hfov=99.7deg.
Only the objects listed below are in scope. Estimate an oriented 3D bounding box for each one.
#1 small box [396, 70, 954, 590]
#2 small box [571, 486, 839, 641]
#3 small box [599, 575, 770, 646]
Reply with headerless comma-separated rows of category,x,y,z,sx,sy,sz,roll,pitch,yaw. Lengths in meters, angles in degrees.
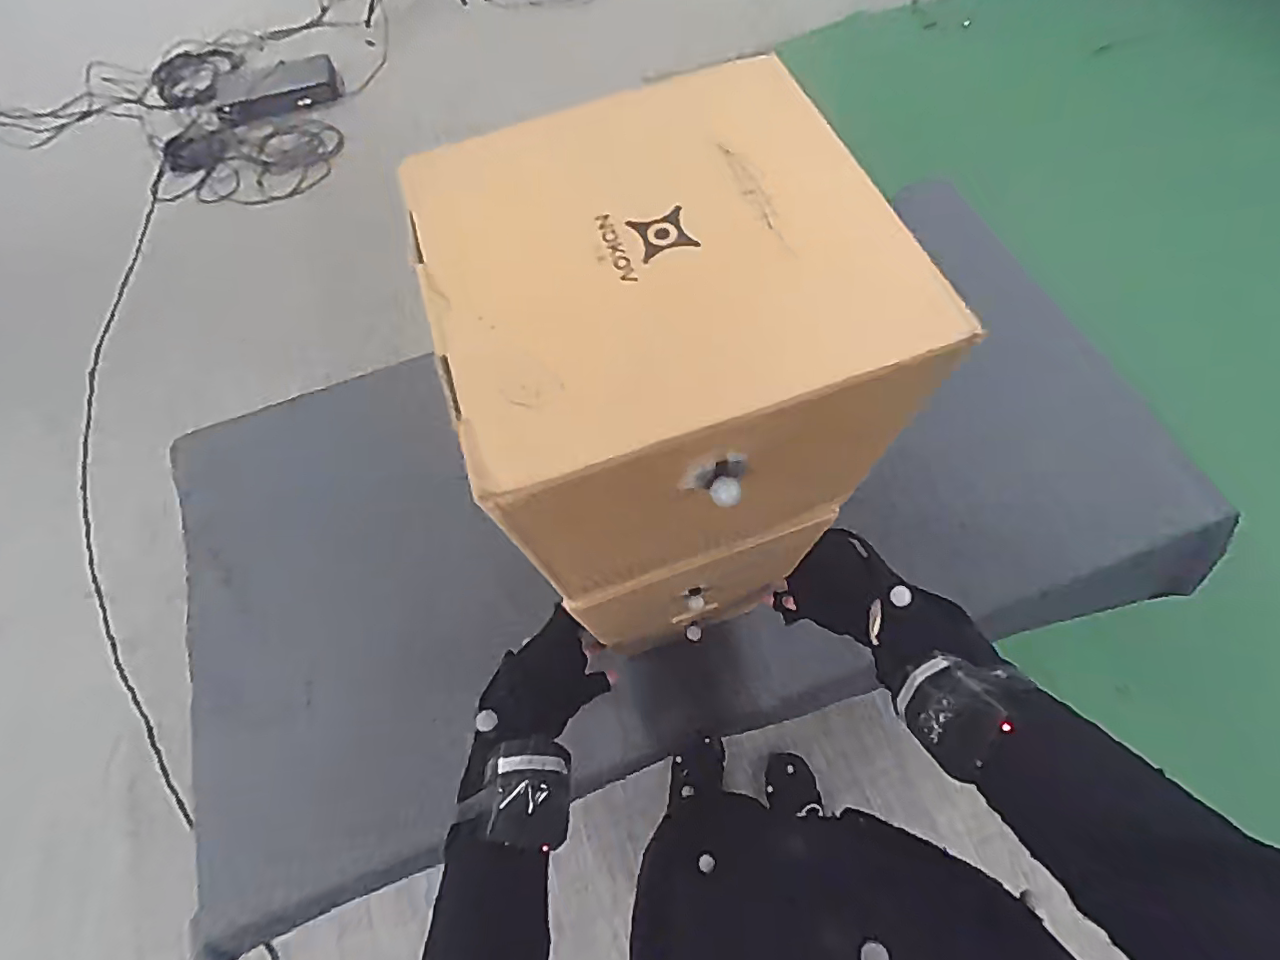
small box,0.006,-0.057,0.280,0.179,0.176,0.168,-19,68,-5
small box,0.018,0.012,0.427,0.179,0.176,0.168,-22,68,-7
small box,0.020,0.069,0.581,0.168,0.176,0.179,-20,68,-4
